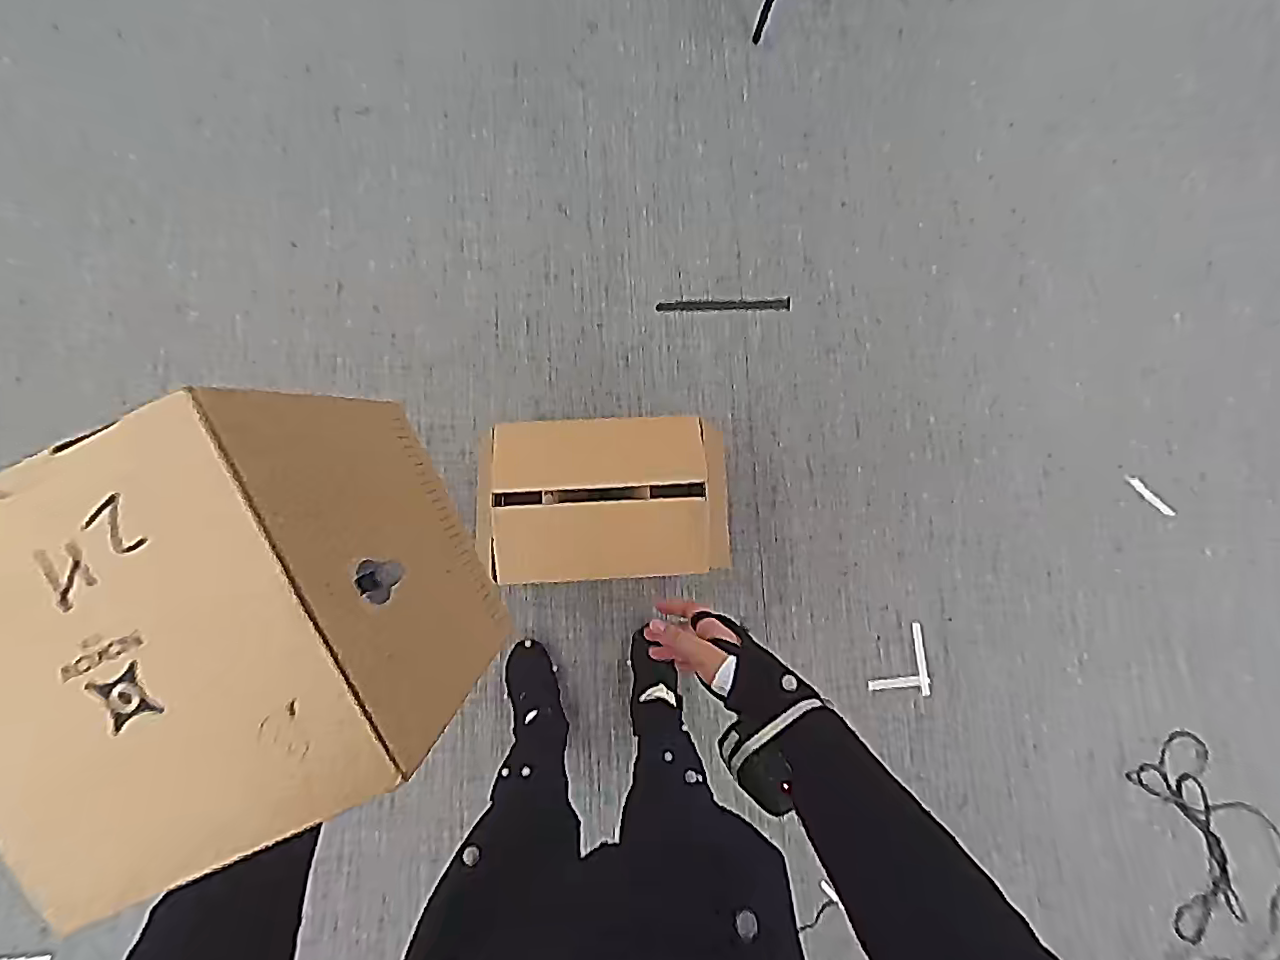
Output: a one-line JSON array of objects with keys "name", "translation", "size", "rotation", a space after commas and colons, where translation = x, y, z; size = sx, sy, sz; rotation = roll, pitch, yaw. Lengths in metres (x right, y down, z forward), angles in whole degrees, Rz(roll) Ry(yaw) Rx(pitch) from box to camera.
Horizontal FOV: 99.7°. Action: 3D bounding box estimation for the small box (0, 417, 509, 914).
[{"name": "small box", "translation": [-0.197, 0.075, 0.307], "size": [0.168, 0.176, 0.179], "rotation": [-26, 95, 3]}]
